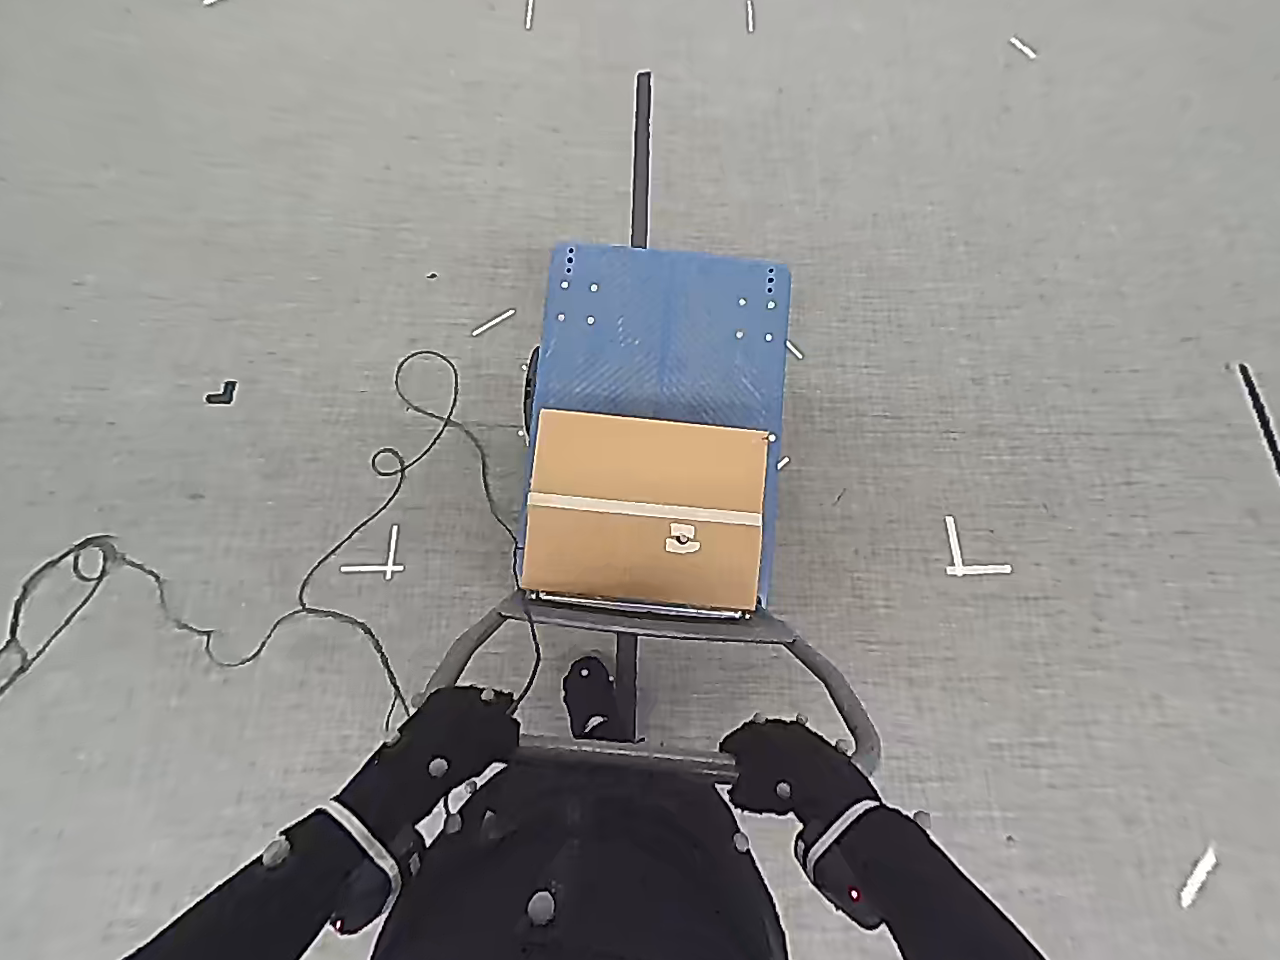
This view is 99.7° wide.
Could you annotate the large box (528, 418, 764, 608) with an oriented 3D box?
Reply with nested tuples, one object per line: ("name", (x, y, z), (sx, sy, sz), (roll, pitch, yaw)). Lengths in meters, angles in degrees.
("large box", (0.006, 0.070, 1.103), (0.408, 0.320, 0.320), (6, 86, -2))
